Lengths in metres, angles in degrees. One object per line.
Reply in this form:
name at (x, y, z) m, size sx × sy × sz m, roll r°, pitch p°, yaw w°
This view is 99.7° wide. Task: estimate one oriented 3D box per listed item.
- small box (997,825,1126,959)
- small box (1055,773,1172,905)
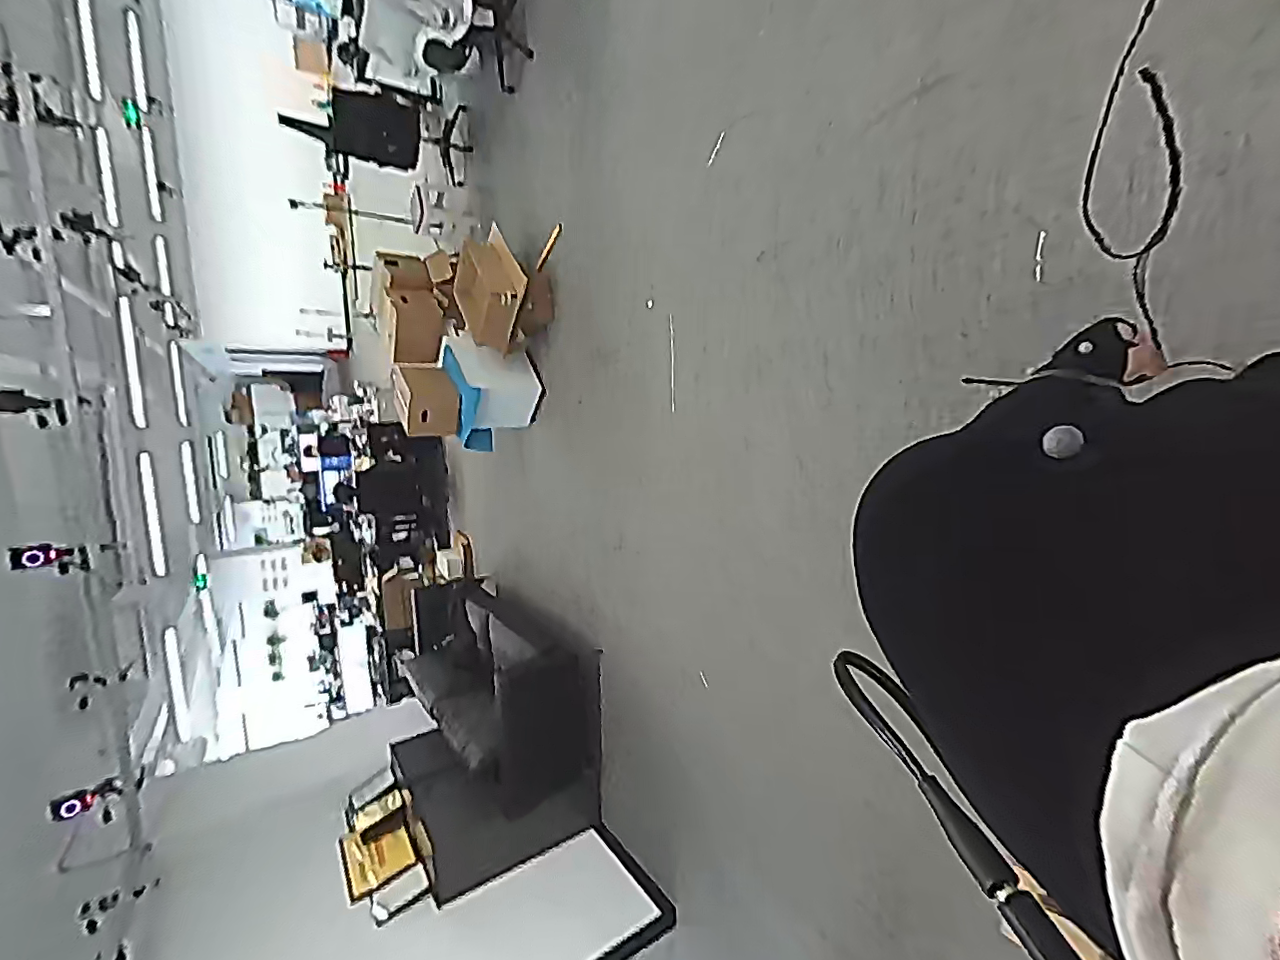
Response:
small box at (0.860, 0.856, 1.104) m, size 0.168 × 0.176 × 0.179 m, roll 7°, pitch 101°, yaw 55°
small box at (1.130, 0.841, 1.291) m, size 0.179 × 0.176 × 0.168 m, roll 10°, pitch 102°, yaw 55°
